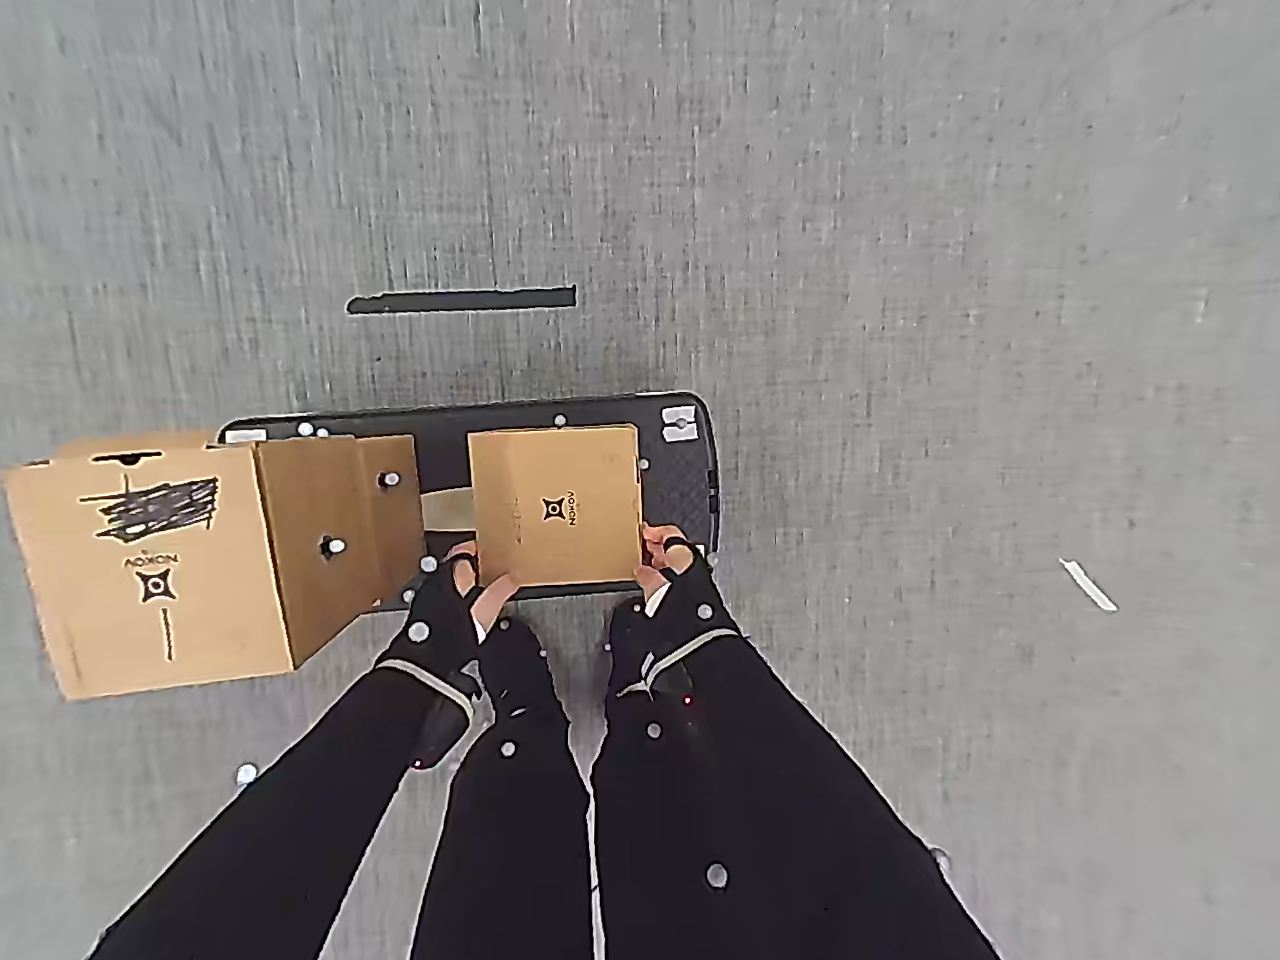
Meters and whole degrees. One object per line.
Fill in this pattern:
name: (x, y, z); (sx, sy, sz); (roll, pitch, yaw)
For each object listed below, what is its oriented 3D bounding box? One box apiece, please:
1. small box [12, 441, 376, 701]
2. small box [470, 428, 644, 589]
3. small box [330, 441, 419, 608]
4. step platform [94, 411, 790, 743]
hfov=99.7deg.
small box: (-0.352, 0.059, 0.467); (0.168, 0.176, 0.179); (-6, 98, -5)
small box: (-0.089, 0.022, 0.646); (0.179, 0.176, 0.168); (-3, 96, -2)
small box: (-0.364, 0.044, 0.631); (0.168, 0.176, 0.179); (-4, 97, -5)
step platform: (-0.195, 0.084, 0.616); (0.684, 0.204, 0.286); (-4, 97, -5)
